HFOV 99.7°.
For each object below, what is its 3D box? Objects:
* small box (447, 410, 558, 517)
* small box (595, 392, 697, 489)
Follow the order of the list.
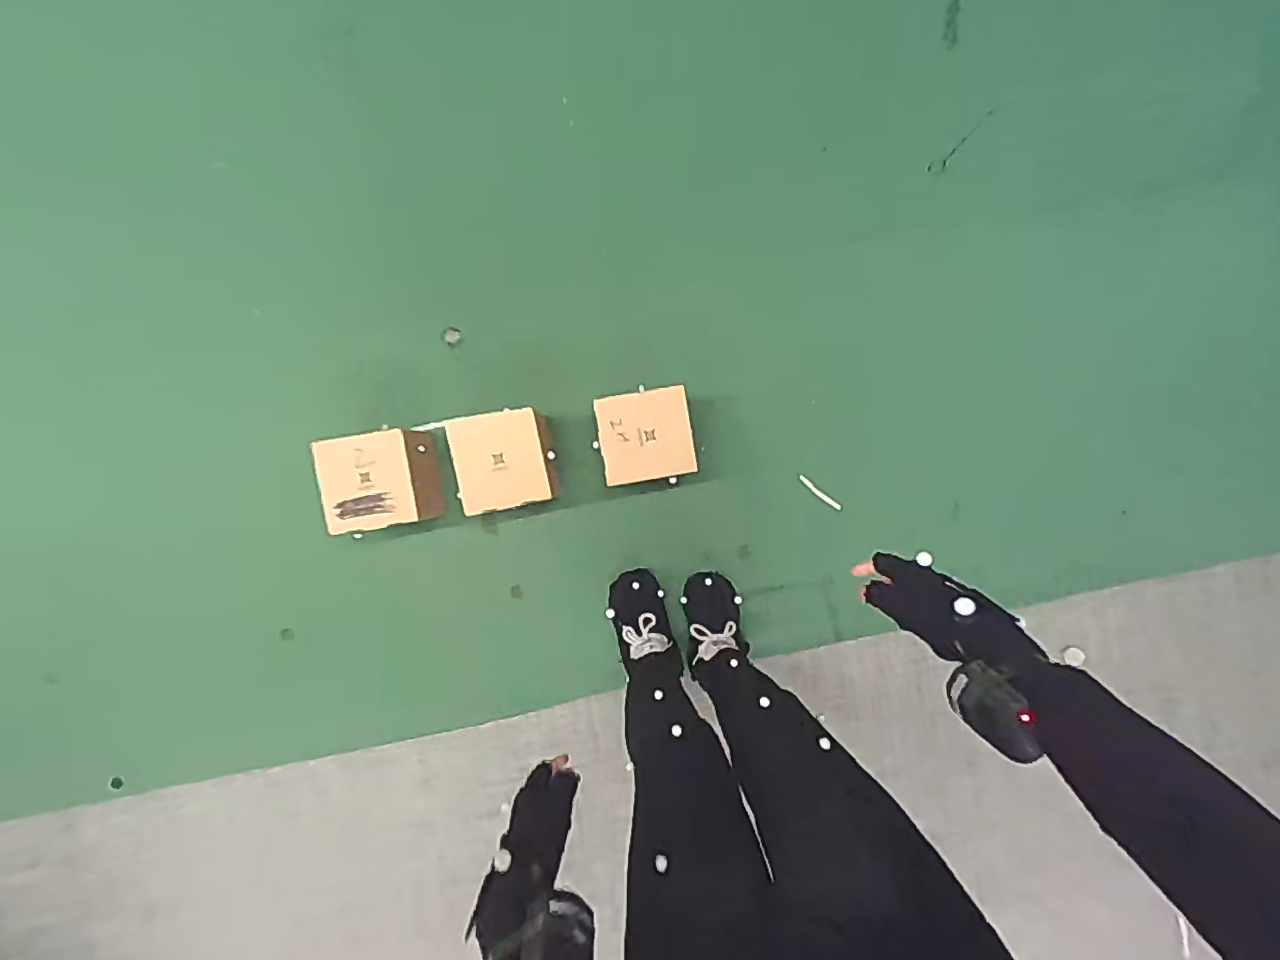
[{"bbox_3d":[-0.265,-0.033,1.078,0.168,0.176,0.179,-12,94,-2],"label":"small box"},{"bbox_3d":[0.006,-0.079,1.088,0.179,0.176,0.168,-9,93,-3],"label":"small box"}]
